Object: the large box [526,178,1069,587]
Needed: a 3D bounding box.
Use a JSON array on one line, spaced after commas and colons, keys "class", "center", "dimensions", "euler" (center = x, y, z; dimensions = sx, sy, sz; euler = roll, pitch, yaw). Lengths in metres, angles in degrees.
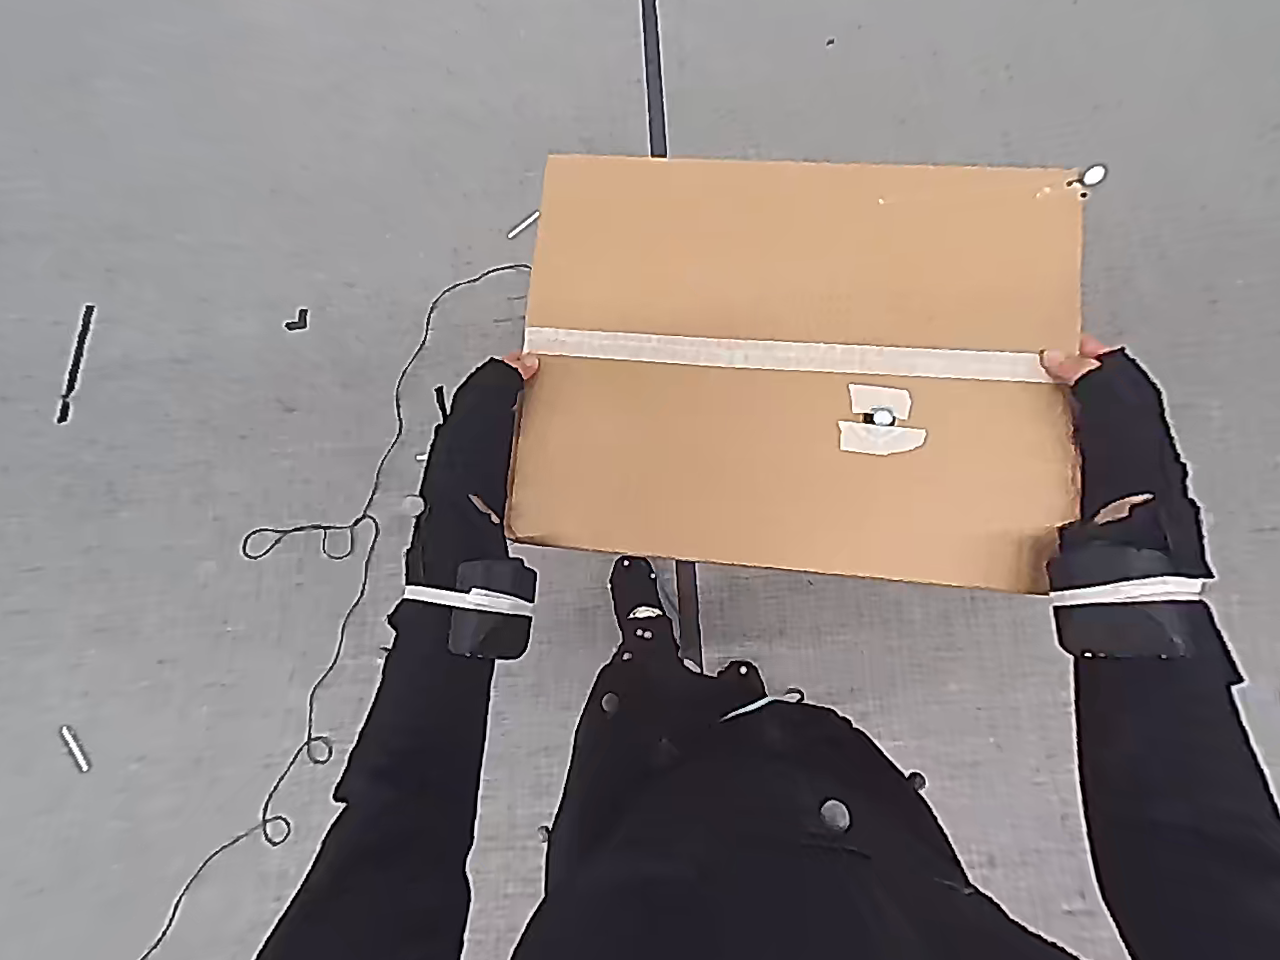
[{"class": "large box", "center": [0.128, -0.071, 0.565], "dimensions": [0.408, 0.320, 0.320], "euler": [5, 85, 5]}]
